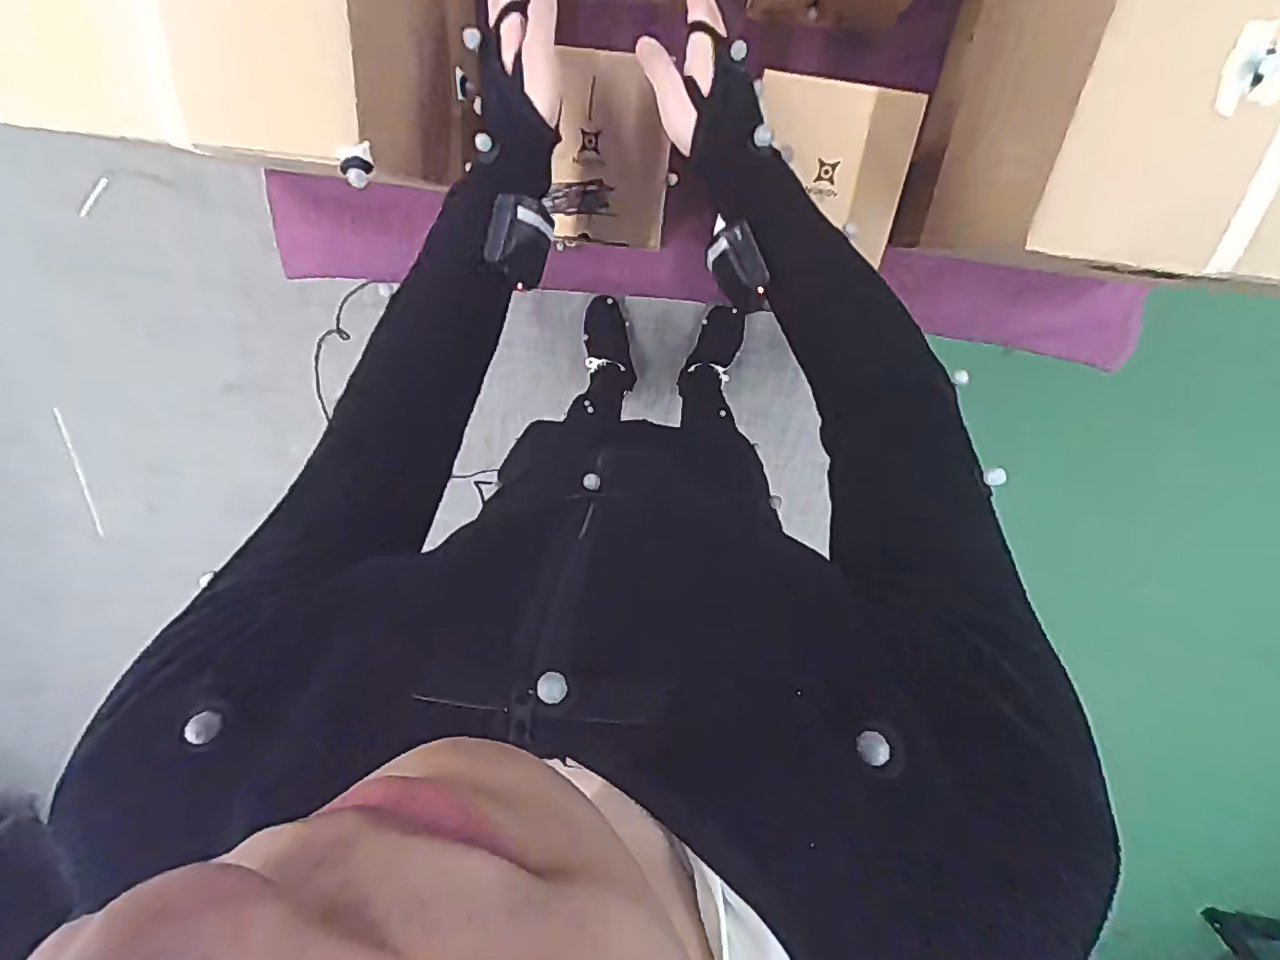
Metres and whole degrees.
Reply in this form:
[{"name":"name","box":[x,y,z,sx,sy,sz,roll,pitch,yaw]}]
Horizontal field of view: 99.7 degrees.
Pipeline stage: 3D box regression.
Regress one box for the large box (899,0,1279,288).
[{"name":"large box","box":[0.506,-0.416,0.510,0.320,0.320,0.408,8,115,1]}]
